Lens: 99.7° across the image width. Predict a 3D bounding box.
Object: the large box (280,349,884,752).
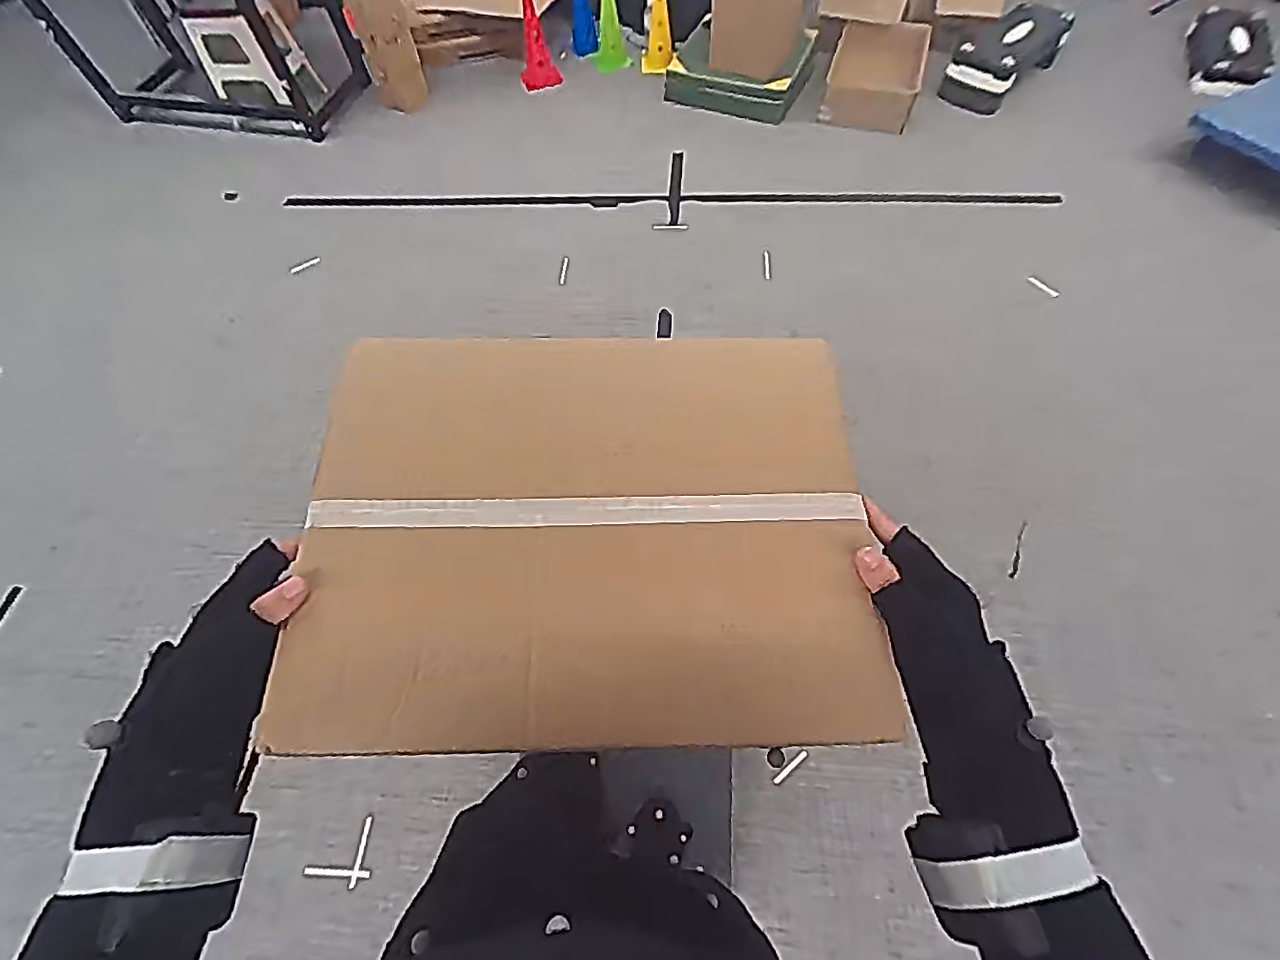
[{"bbox_3d":[-0.040,0.086,0.546,0.408,0.320,0.320,0,66,-2],"label":"large box"}]
